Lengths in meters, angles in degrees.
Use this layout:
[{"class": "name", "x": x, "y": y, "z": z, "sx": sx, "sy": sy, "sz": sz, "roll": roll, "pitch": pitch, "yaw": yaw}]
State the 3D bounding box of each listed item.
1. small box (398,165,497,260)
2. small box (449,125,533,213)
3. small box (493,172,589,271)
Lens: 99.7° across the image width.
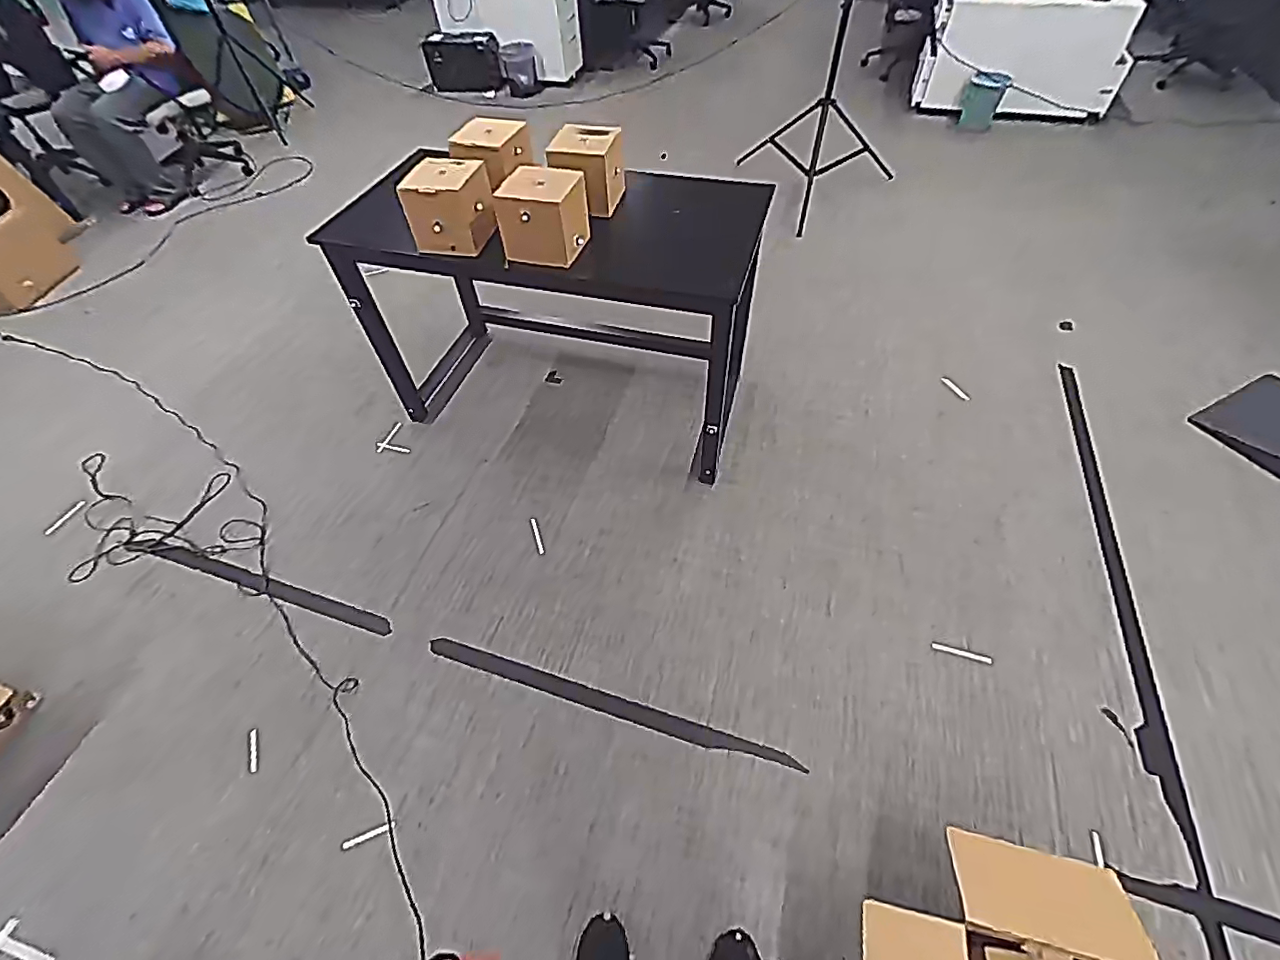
[{"class": "small box", "x": -0.492, "y": -0.699, "z": 1.416, "sx": 0.168, "sy": 0.176, "sz": 0.179, "roll": 7, "pitch": 53, "yaw": 8}, {"class": "small box", "x": -0.422, "y": -0.905, "z": 1.577, "sx": 0.168, "sy": 0.176, "sz": 0.179, "roll": 13, "pitch": 54, "yaw": 13}, {"class": "small box", "x": -0.243, "y": -0.652, "z": 1.371, "sx": 0.179, "sy": 0.176, "sz": 0.168, "roll": 12, "pitch": 54, "yaw": 11}]
